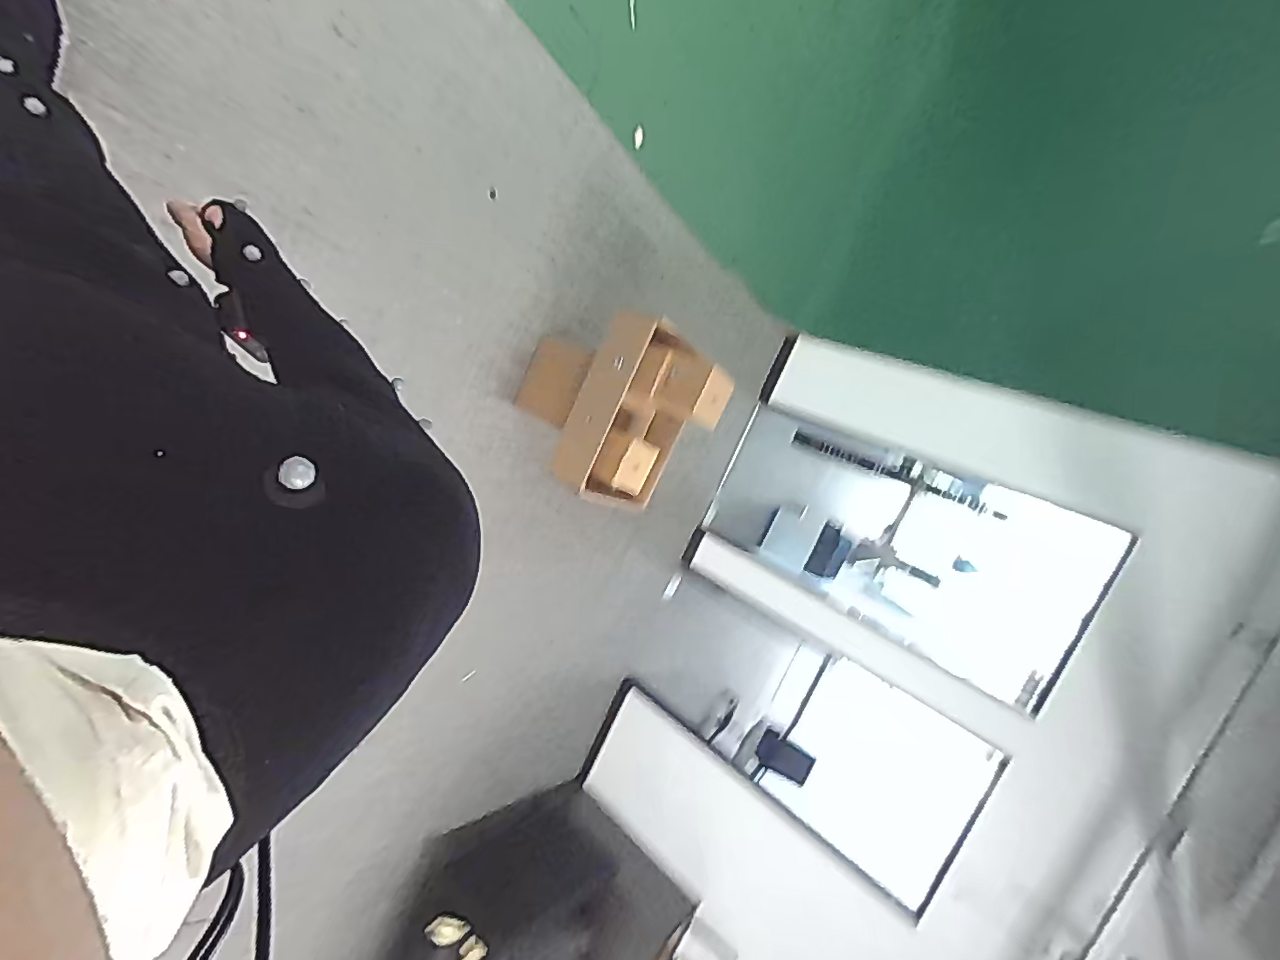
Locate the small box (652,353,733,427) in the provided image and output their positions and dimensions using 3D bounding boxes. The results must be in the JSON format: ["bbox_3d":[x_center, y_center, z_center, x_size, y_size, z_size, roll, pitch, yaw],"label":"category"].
[{"bbox_3d":[0.171,-0.295,1.764,0.179,0.176,0.168,23,93,-57],"label":"small box"}]
